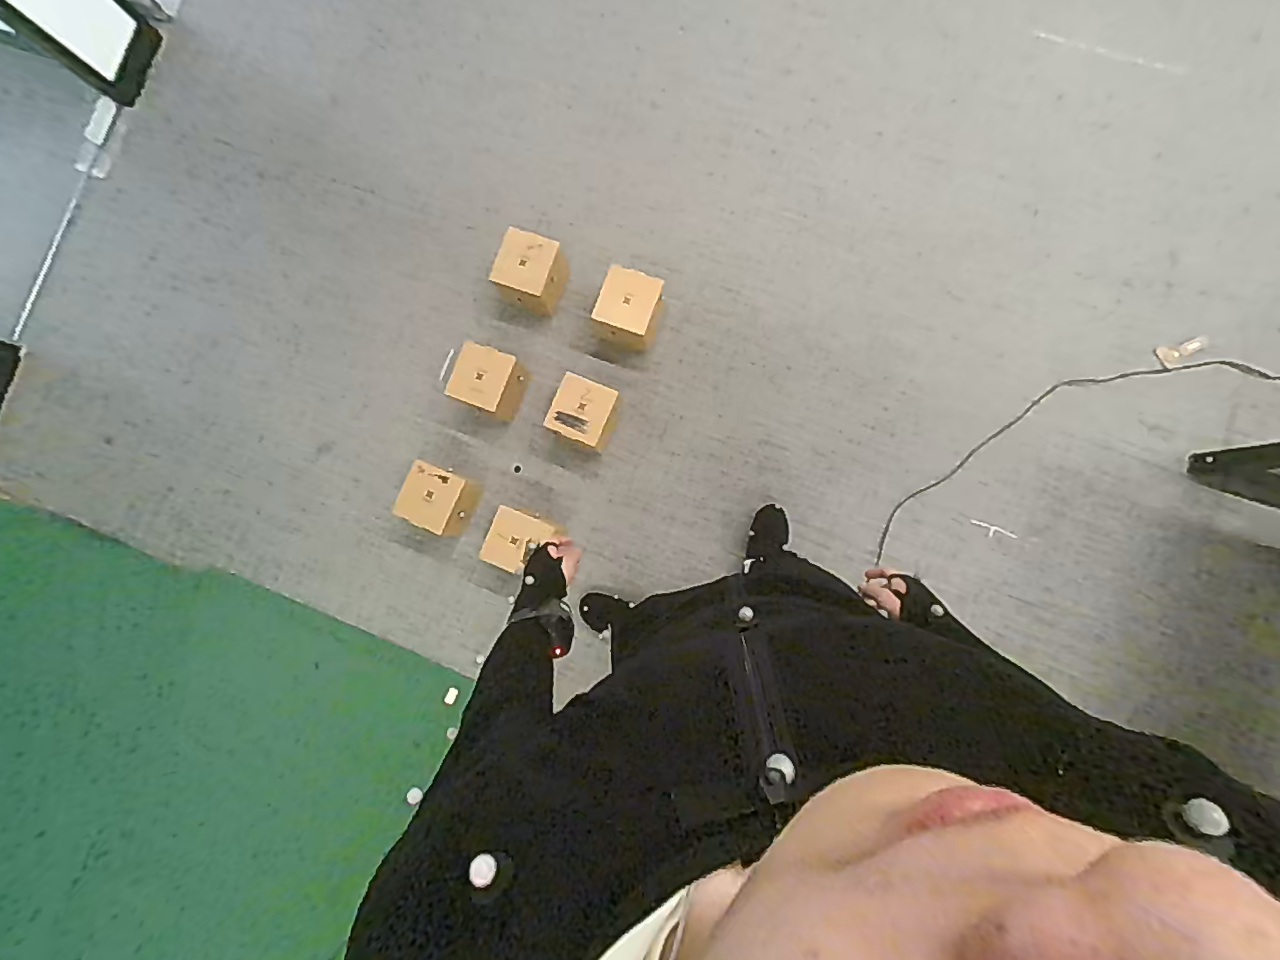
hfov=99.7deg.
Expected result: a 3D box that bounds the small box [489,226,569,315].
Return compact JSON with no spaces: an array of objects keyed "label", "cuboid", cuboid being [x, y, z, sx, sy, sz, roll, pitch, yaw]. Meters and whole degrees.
[{"label":"small box","cuboid":[-0.330,-0.630,1.647,0.168,0.176,0.179,20,86,5]}]

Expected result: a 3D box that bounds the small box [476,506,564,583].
[{"label":"small box","cuboid":[-0.340,0.183,1.576,0.179,0.176,0.168,23,87,7]}]

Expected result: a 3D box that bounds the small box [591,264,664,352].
[{"label":"small box","cuboid":[-0.029,-0.507,1.618,0.168,0.176,0.179,20,86,6]}]

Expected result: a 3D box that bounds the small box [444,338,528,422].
[{"label":"small box","cuboid":[-0.454,-0.295,1.628,0.168,0.176,0.179,21,87,6]}]

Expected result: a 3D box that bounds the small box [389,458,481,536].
[{"label":"small box","cuboid":[-0.598,0.054,1.606,0.168,0.176,0.179,24,88,6]}]
